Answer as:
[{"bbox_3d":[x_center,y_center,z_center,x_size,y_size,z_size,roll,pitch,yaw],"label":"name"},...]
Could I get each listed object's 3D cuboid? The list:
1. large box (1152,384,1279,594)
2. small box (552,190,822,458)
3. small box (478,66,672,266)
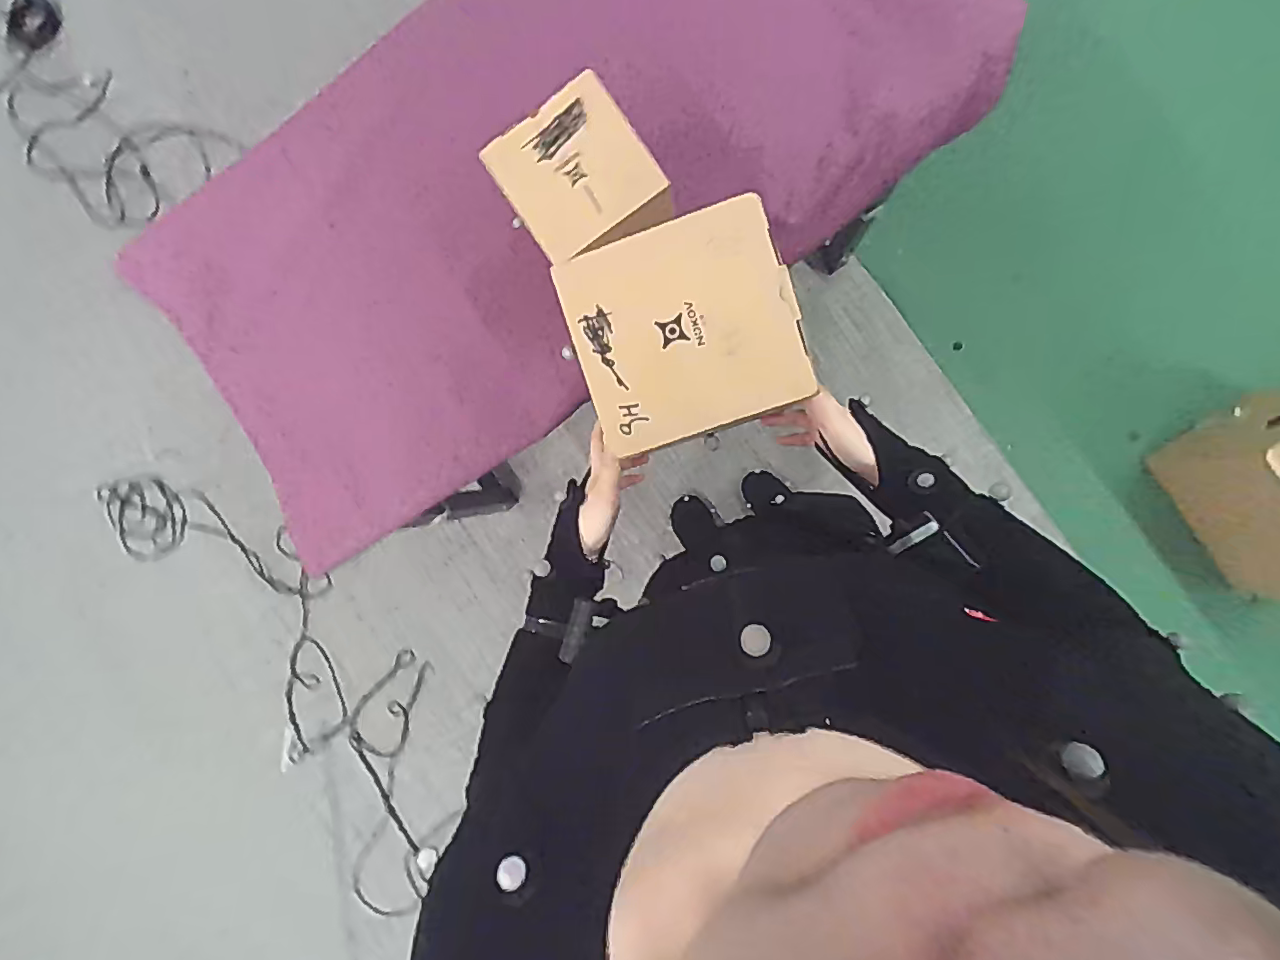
[{"bbox_3d":[1.488,0.020,1.178,0.320,0.320,0.408,-34,87,7],"label":"large box"},{"bbox_3d":[0.040,-0.123,0.495,0.179,0.176,0.168,-17,90,5],"label":"small box"},{"bbox_3d":[-0.071,-0.365,0.706,0.168,0.176,0.179,-34,87,6],"label":"small box"}]
